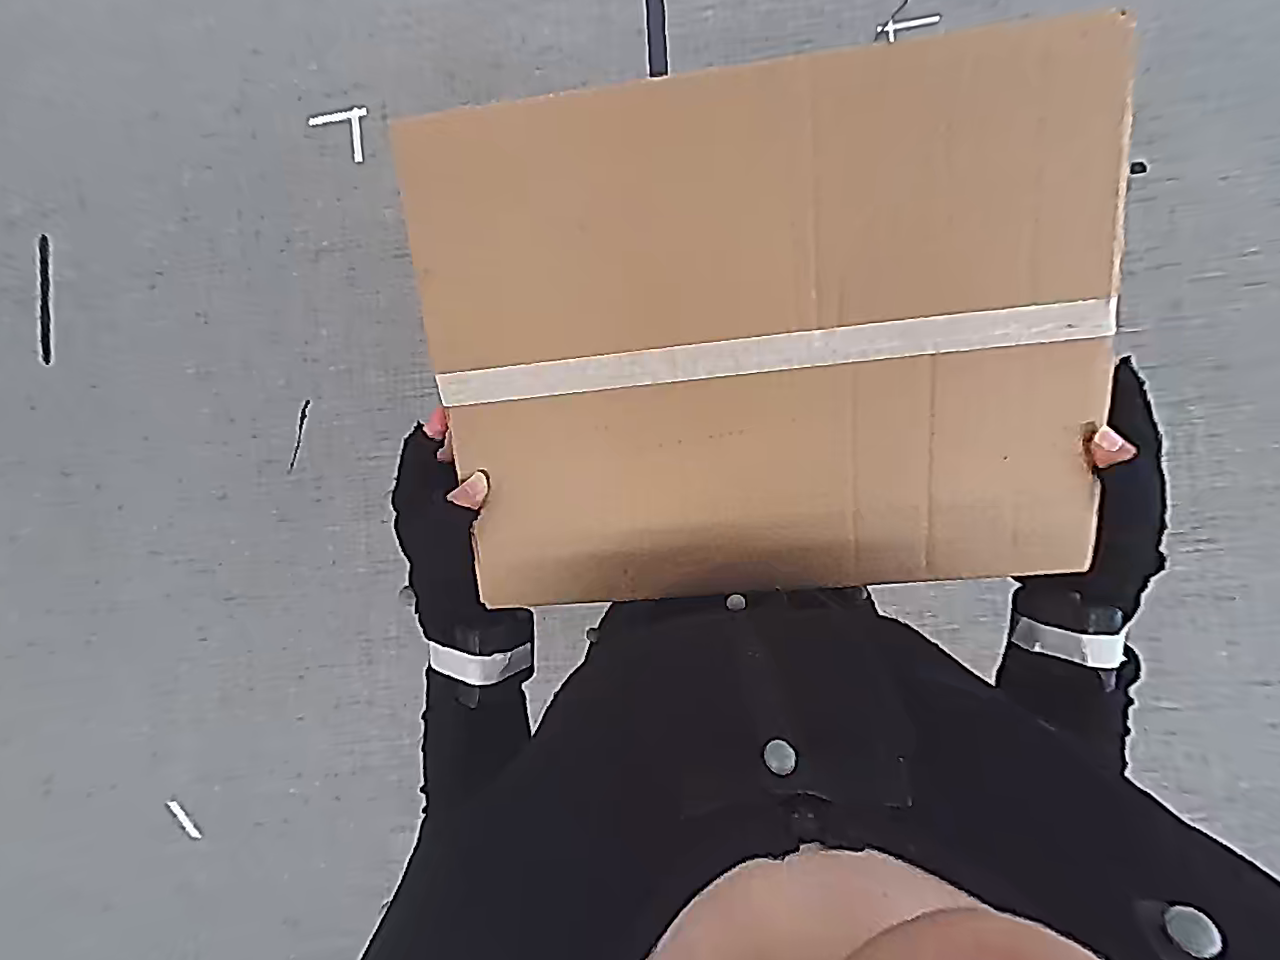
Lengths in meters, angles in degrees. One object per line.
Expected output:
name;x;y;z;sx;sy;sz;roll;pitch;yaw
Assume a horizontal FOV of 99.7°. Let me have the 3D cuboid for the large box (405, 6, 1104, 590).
large box;0.078;-0.121;0.485;0.408;0.320;0.320;-5;105;5
